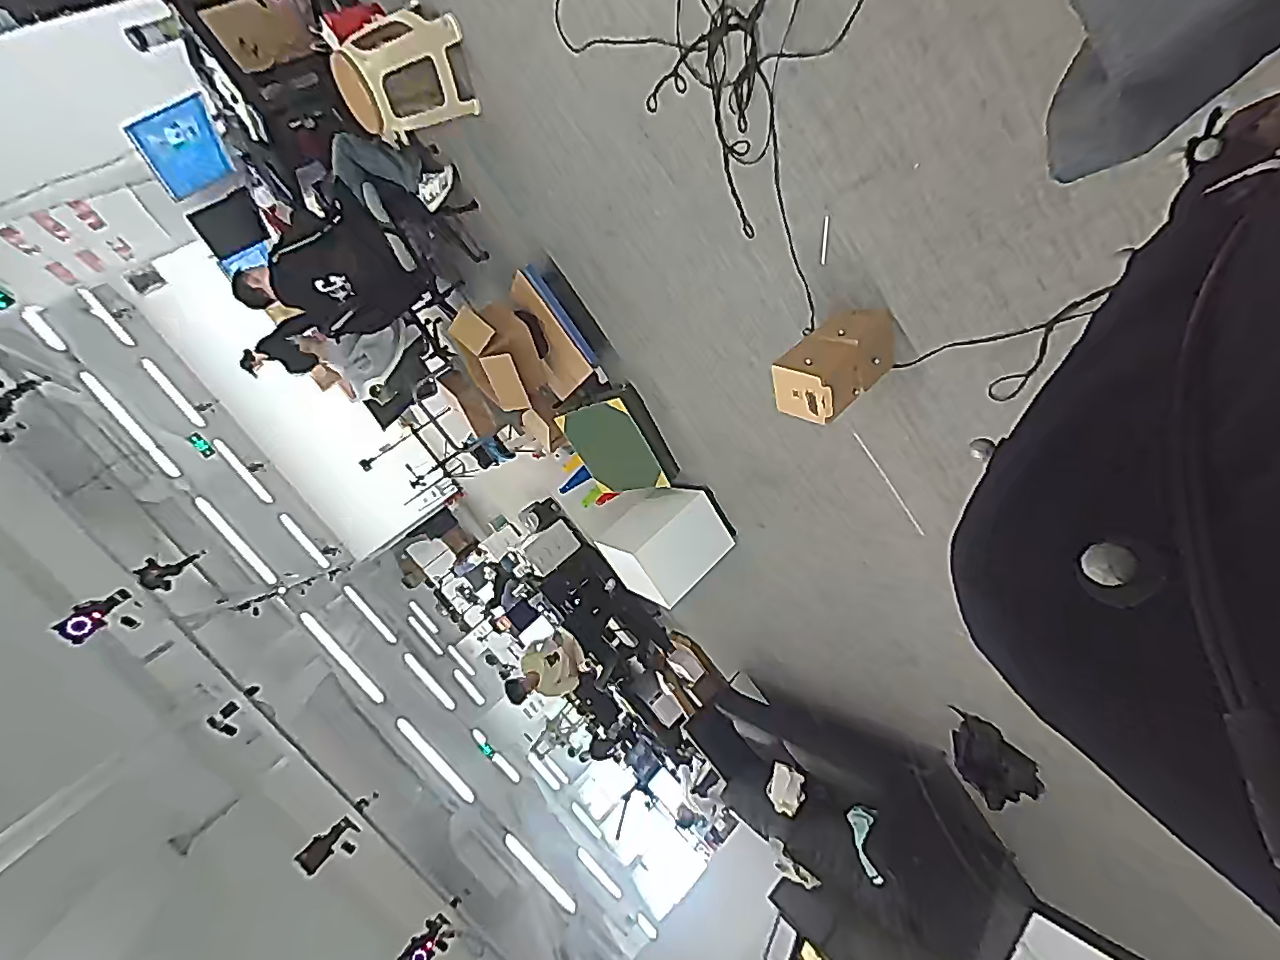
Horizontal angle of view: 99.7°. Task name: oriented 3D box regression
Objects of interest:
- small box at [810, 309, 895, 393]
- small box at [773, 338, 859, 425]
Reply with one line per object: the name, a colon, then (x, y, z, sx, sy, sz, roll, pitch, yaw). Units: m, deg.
small box: (0.640, -0.388, 1.614, 0.168, 0.176, 0.179, 25, 147, 48)
small box: (0.516, -0.291, 1.564, 0.179, 0.176, 0.168, 30, 150, 44)
